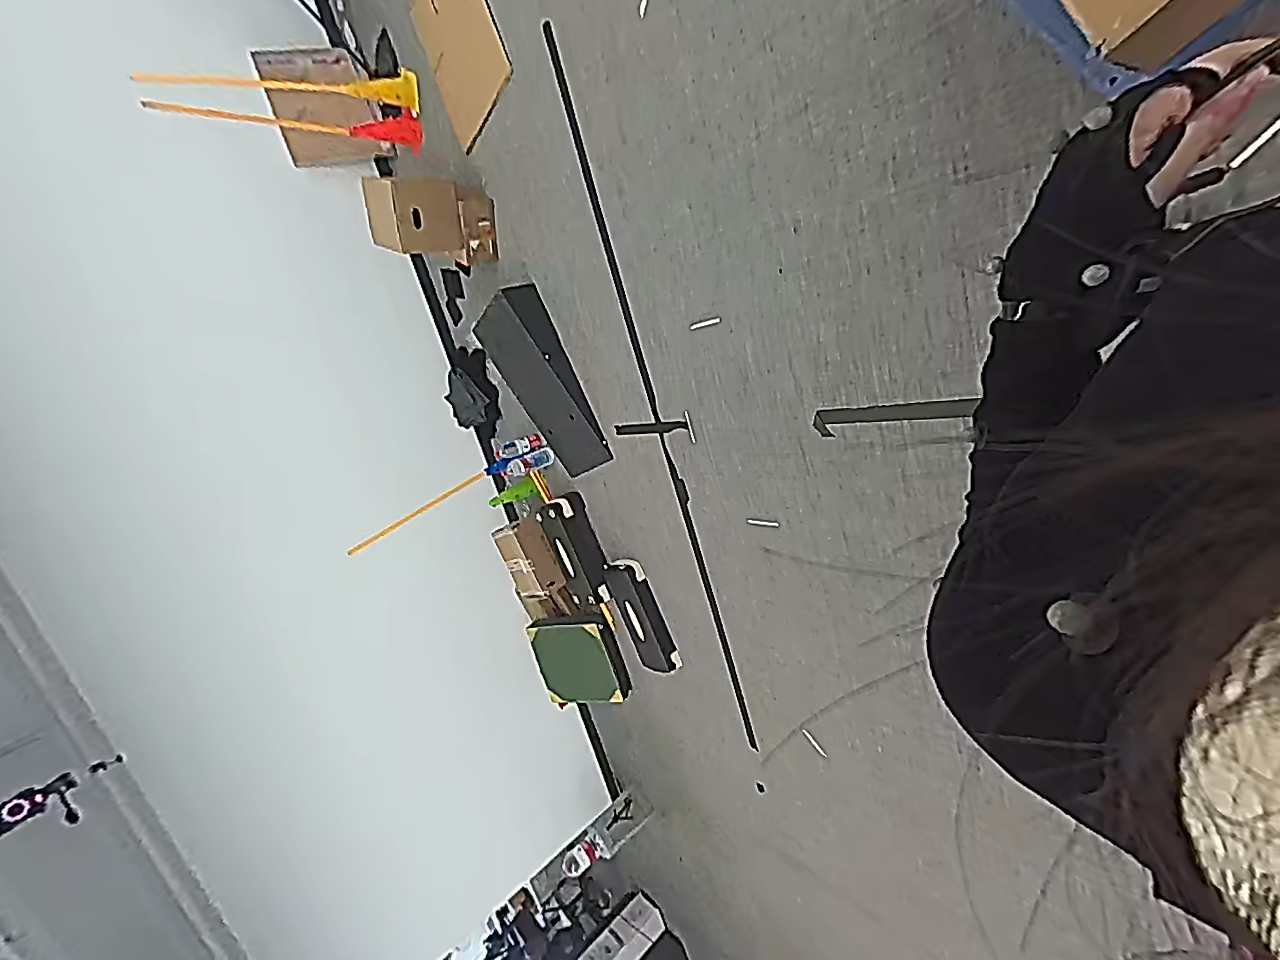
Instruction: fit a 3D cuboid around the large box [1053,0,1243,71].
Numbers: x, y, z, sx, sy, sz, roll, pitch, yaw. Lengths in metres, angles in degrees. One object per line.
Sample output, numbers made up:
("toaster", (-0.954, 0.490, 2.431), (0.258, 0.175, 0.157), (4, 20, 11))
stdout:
("large box", (0.717, -0.791, 0.629), (0.320, 0.320, 0.408), (61, 146, 6))
